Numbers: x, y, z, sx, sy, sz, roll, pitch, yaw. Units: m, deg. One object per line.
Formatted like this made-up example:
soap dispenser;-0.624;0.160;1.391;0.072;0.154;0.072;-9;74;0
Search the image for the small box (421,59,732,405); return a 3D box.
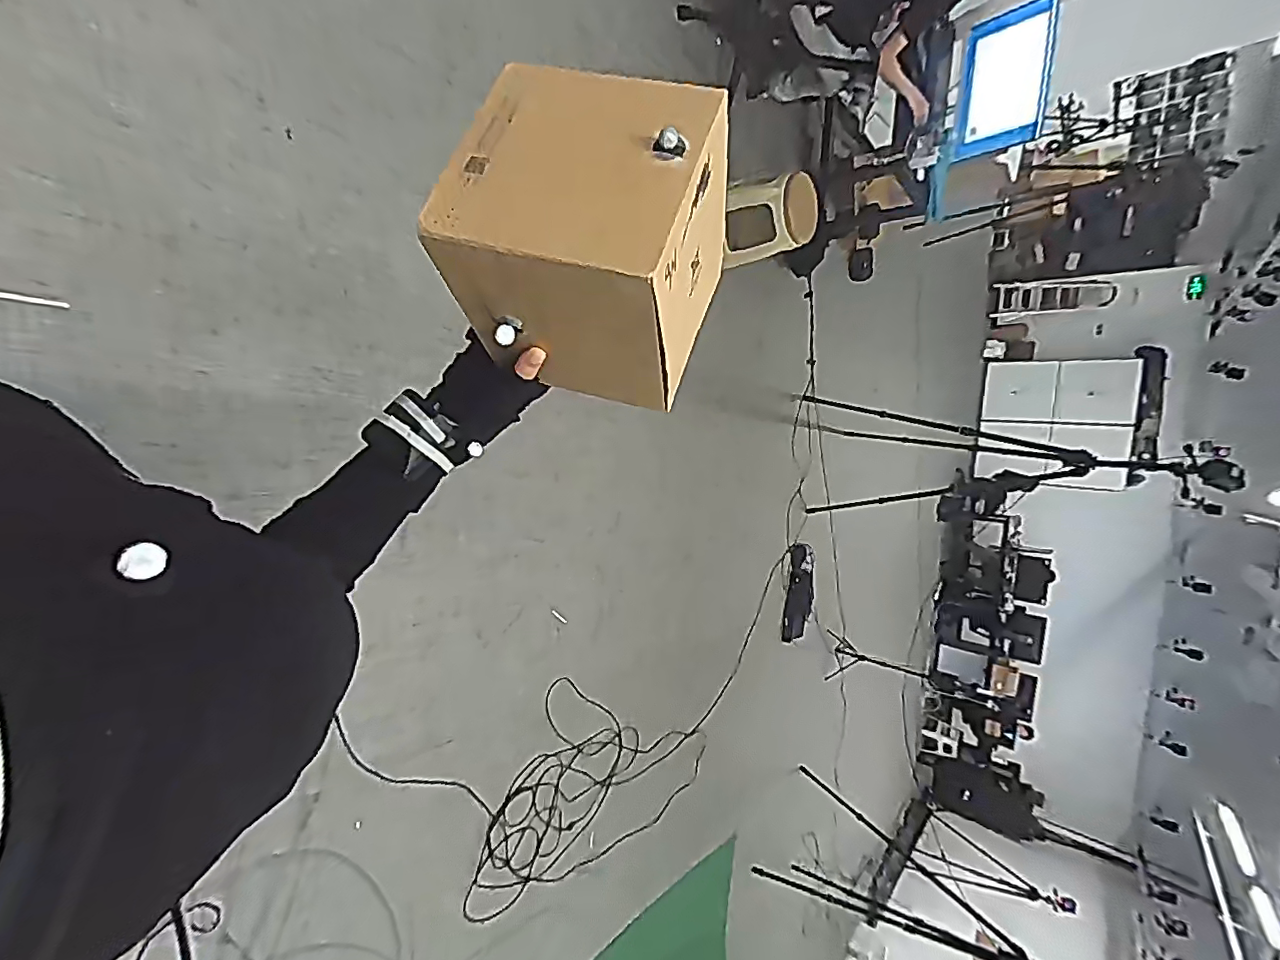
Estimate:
small box;-0.038;-0.188;0.433;0.179;0.176;0.168;79;29;-70
